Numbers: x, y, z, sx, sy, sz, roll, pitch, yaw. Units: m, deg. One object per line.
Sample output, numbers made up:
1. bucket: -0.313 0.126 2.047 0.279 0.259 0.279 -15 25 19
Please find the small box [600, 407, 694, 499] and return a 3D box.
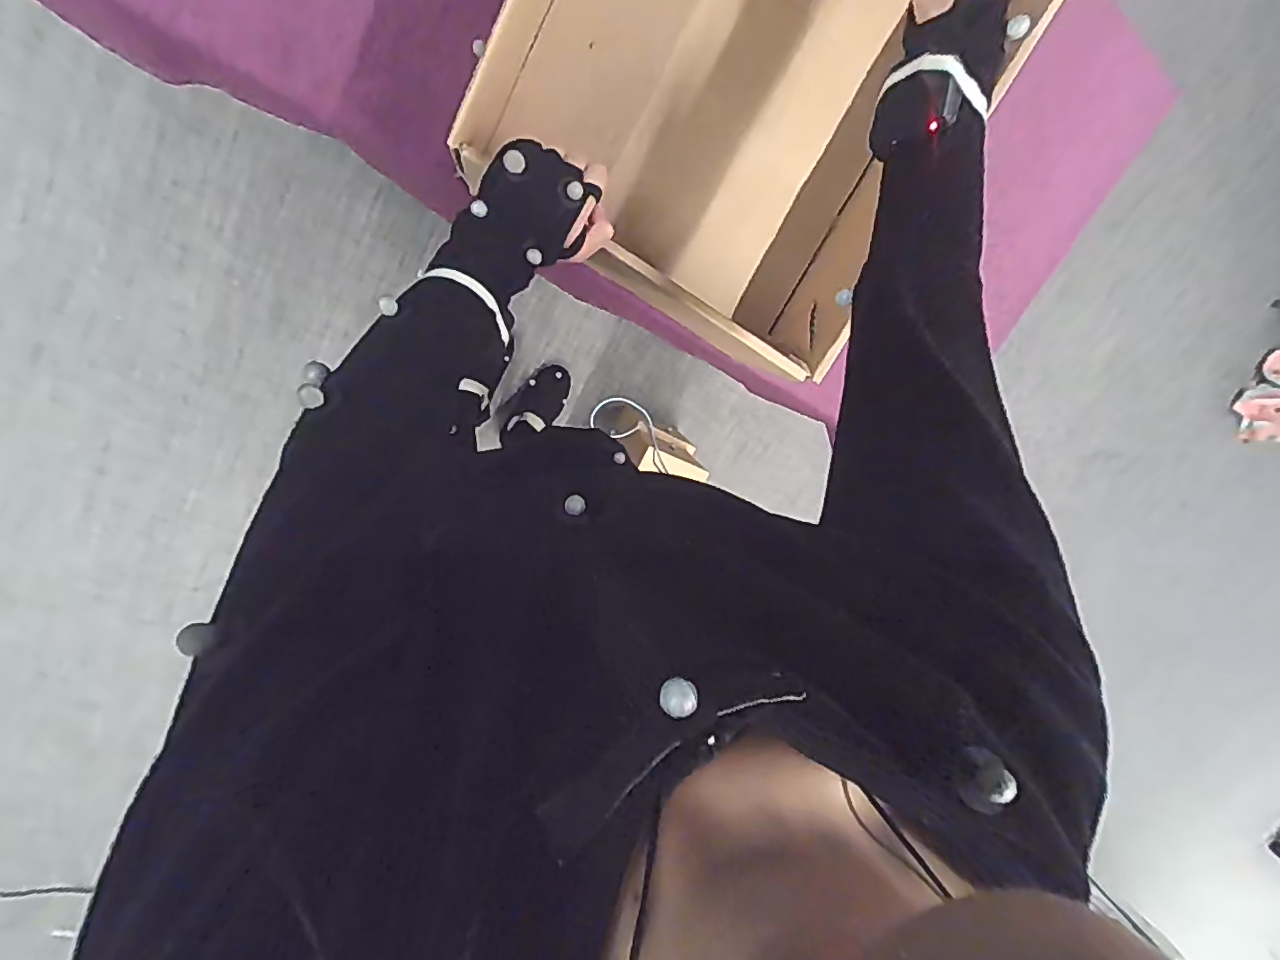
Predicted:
1. small box: 0.013 -0.079 1.447 0.179 0.176 0.168 23 104 -21
